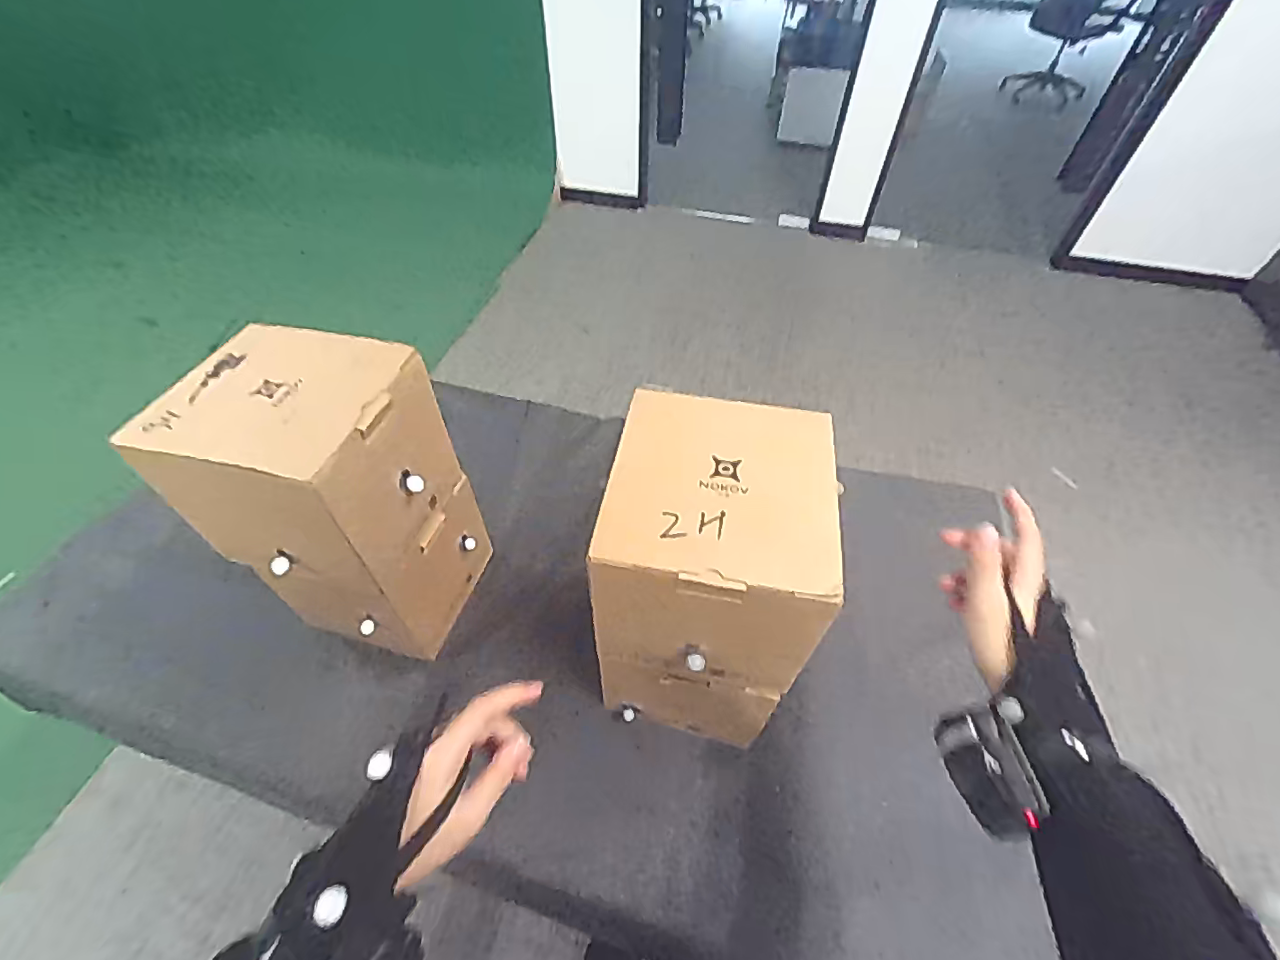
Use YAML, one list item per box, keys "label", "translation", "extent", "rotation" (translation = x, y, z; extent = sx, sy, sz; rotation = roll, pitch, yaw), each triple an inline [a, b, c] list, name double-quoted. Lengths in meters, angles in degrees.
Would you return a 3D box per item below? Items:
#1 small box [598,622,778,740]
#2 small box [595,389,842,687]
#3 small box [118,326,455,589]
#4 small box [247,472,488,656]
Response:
- label: "small box"
  translation: [0.062, 0.157, 0.589]
  extent: [0.168, 0.176, 0.179]
  rotation: [13, 49, 9]
- label: "small box"
  translation: [0.062, 0.050, 0.464]
  extent: [0.168, 0.176, 0.179]
  rotation: [8, 49, 6]
- label: "small box"
  translation: [-0.300, -0.017, 0.512]
  extent: [0.179, 0.176, 0.168]
  rotation: [11, 48, 7]
- label: "small box"
  translation: [-0.302, 0.087, 0.640]
  extent: [0.179, 0.176, 0.168]
  rotation: [12, 49, 9]
